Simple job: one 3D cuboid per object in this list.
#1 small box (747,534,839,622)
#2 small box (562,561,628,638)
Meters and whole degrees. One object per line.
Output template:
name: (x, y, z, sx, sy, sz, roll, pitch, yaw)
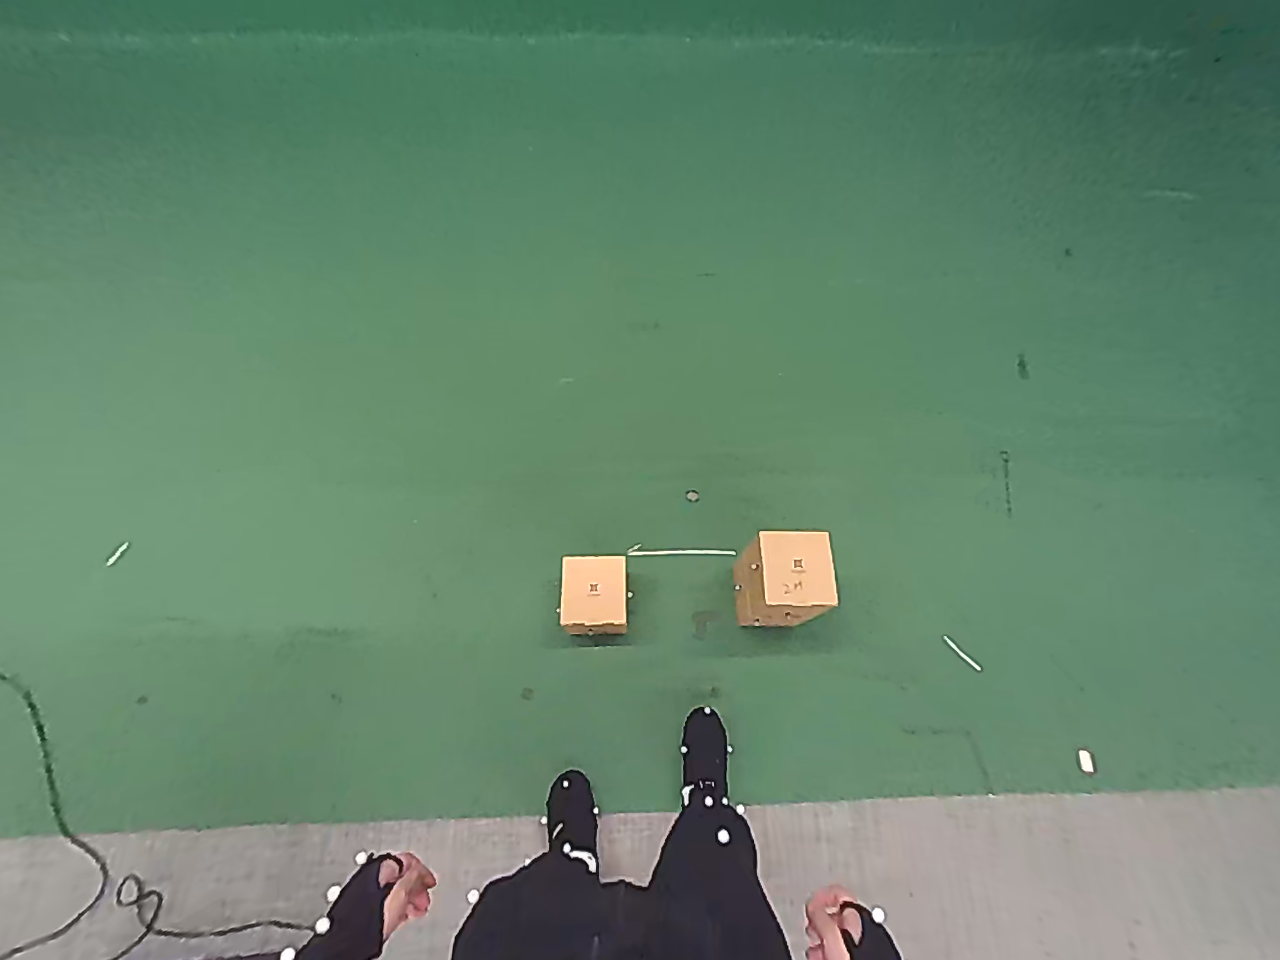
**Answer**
small box: (0.361, 0.241, 1.310, 0.168, 0.176, 0.179, 1, 67, -1)
small box: (-0.116, 0.321, 1.444, 0.168, 0.176, 0.179, -1, 68, -2)
